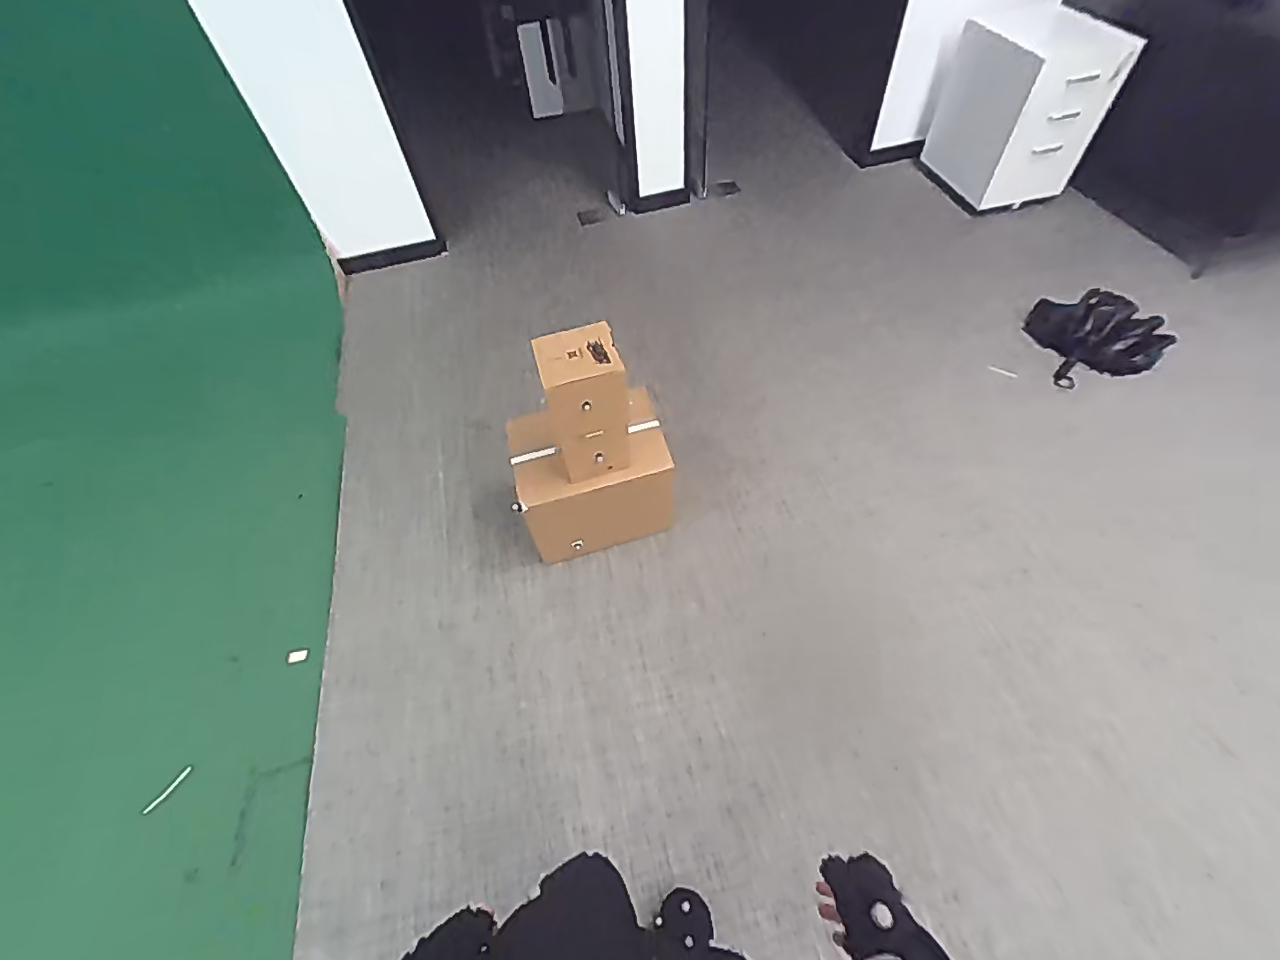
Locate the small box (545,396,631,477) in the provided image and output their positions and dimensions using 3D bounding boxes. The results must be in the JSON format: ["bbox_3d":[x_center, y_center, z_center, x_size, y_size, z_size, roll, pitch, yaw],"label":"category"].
[{"bbox_3d":[-0.126,-0.126,1.353,0.168,0.176,0.179,-16,56,-7],"label":"small box"}]

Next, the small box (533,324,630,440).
[{"bbox_3d":[-0.127,-0.218,1.215,0.179,0.176,0.168,-17,56,-8],"label":"small box"}]
